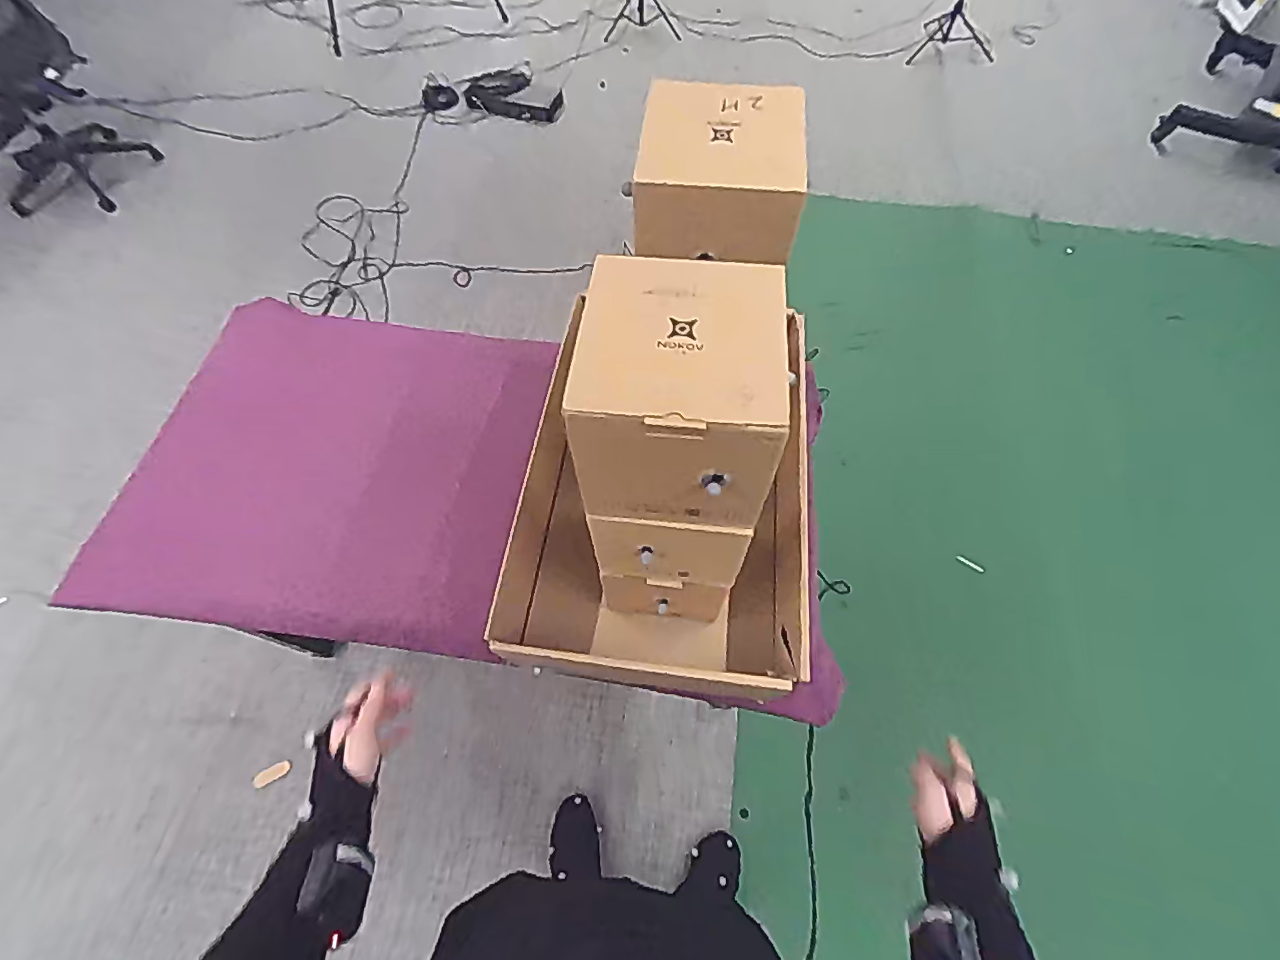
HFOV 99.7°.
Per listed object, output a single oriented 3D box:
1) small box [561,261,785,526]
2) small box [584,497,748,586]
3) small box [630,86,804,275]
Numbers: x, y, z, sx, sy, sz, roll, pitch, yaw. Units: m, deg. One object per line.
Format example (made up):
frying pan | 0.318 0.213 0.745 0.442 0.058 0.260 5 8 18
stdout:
small box | 0.033 -0.071 0.497 0.168 0.176 0.179 5 59 3
small box | 0.038 0.013 0.636 0.168 0.176 0.179 5 60 5
small box | 0.084 -0.308 0.616 0.168 0.176 0.179 6 63 4
